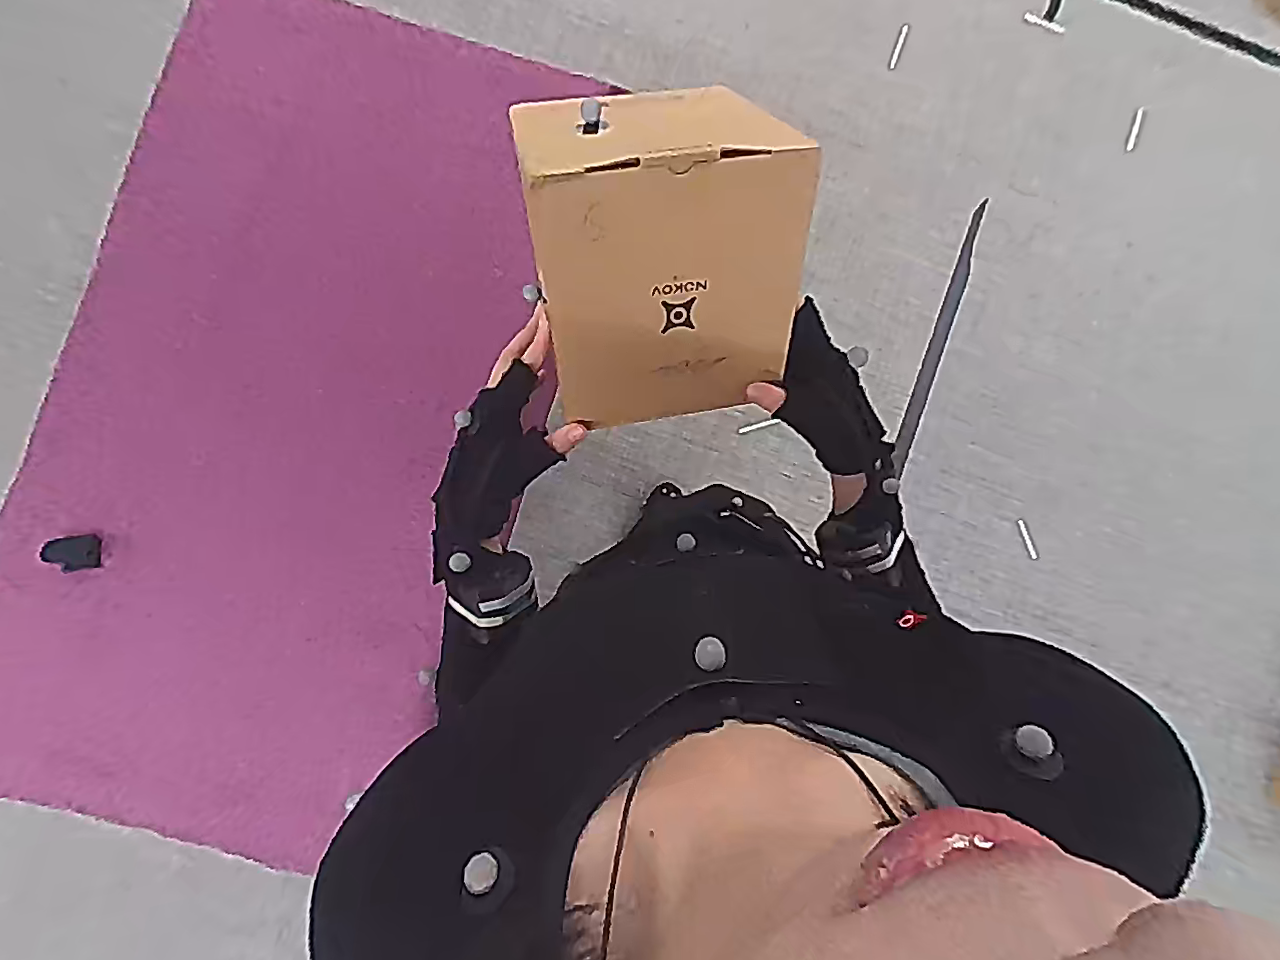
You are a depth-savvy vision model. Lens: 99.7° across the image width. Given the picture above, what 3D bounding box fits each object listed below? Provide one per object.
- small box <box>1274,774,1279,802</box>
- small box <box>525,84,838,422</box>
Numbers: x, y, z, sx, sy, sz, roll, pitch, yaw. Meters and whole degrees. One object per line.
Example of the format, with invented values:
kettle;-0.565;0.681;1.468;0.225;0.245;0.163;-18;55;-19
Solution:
small box;1.954;0.887;1.508;0.168;0.176;0.179;23;86;-1
small box;0.014;-0.171;0.395;0.168;0.179;0.176;-9;46;-7
